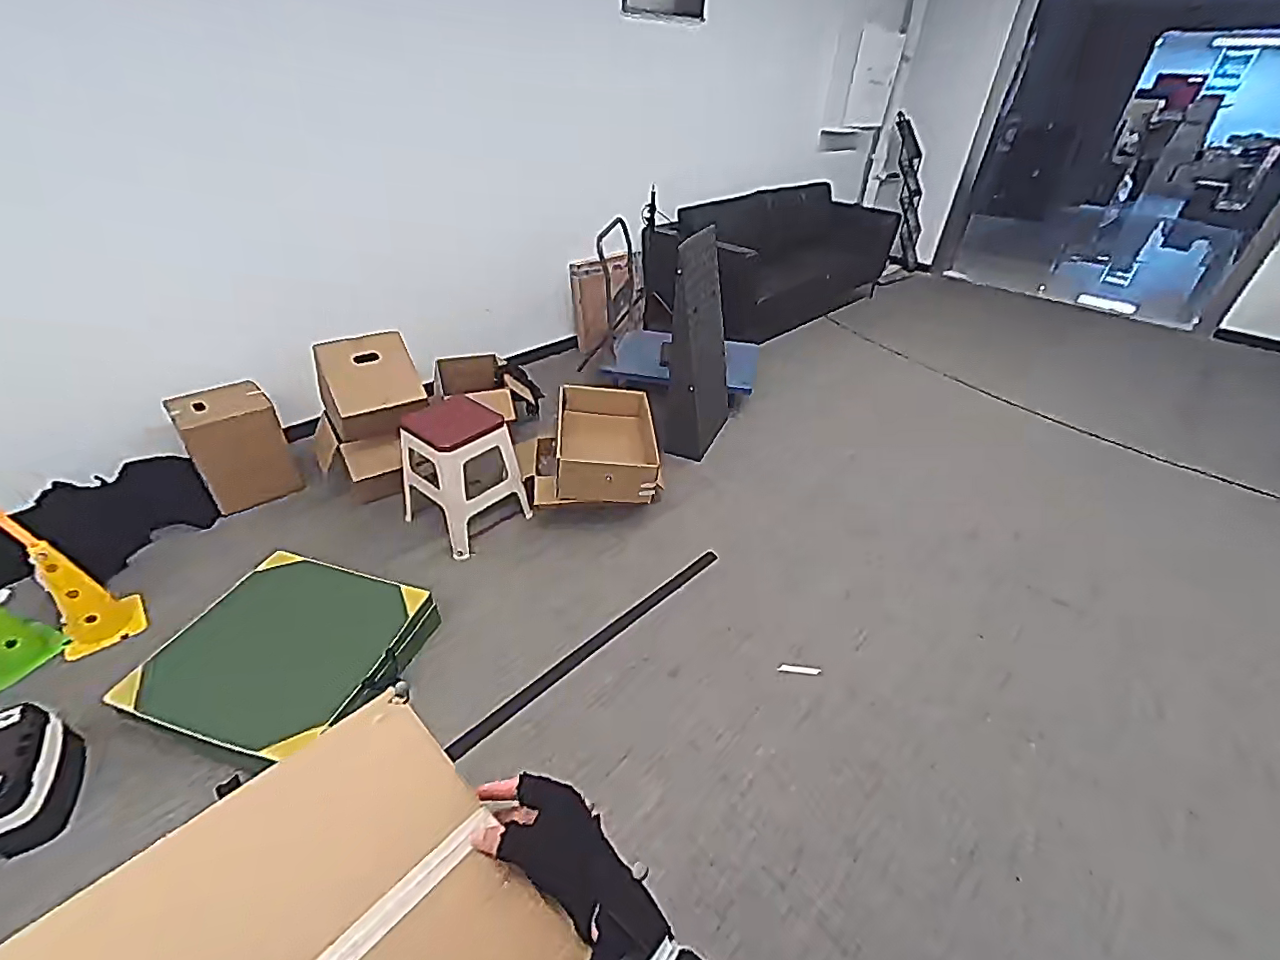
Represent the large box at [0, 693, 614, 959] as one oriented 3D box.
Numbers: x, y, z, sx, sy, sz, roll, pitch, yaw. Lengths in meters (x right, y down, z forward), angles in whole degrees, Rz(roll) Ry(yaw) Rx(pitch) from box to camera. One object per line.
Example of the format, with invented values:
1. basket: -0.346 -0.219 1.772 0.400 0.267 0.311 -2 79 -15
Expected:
1. large box: -0.283 0.477 0.434 0.320 0.320 0.408 37 44 24
